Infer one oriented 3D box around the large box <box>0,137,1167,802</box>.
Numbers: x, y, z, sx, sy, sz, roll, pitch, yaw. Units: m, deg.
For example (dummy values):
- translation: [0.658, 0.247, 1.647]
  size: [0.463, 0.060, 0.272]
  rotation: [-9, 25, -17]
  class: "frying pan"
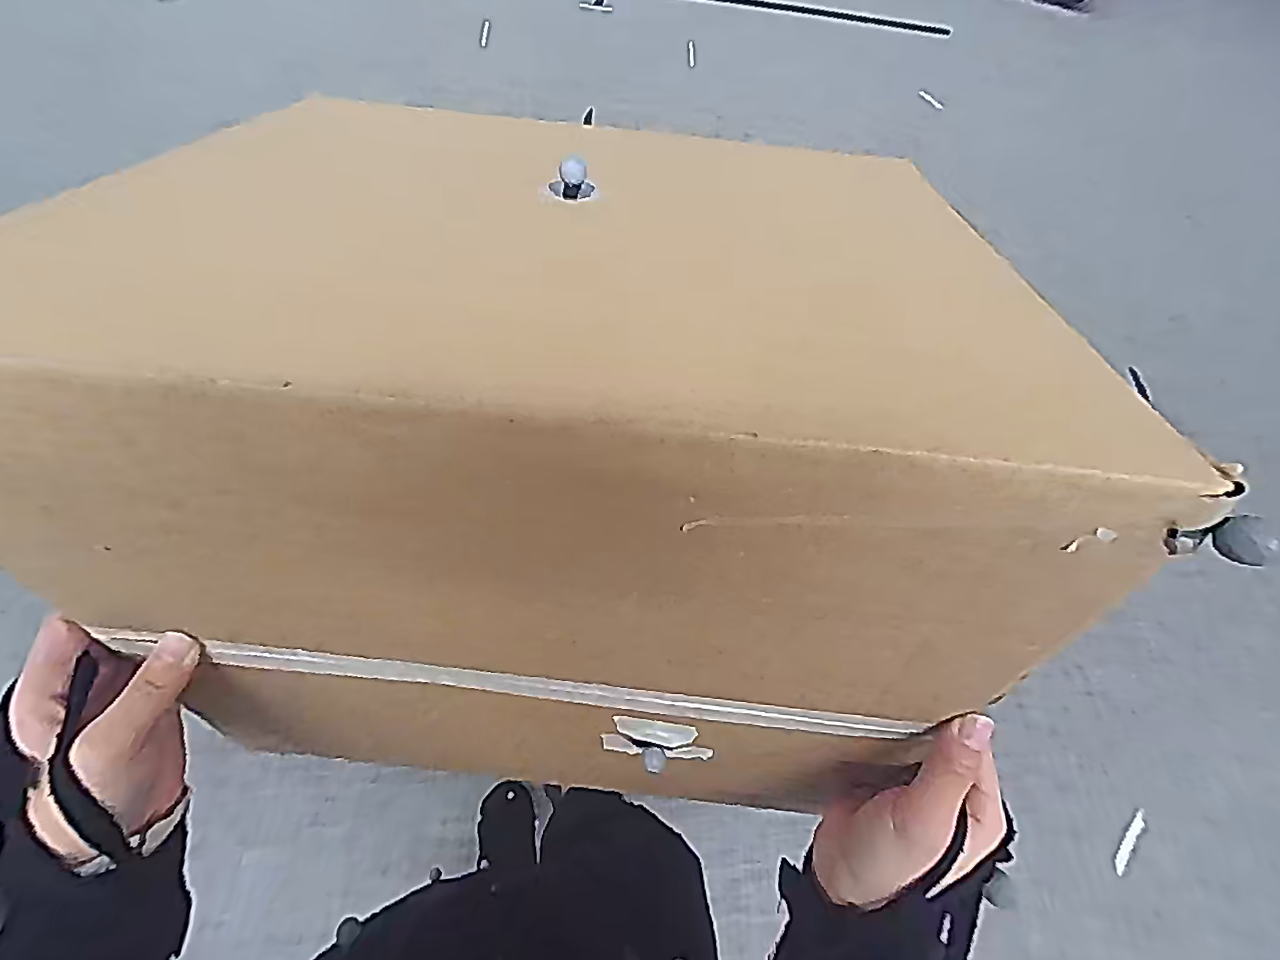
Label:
- translation: [-0.043, -0.014, 0.368]
  size: [0.408, 0.320, 0.320]
  rotation: [5, 45, 1]
  class: "large box"
